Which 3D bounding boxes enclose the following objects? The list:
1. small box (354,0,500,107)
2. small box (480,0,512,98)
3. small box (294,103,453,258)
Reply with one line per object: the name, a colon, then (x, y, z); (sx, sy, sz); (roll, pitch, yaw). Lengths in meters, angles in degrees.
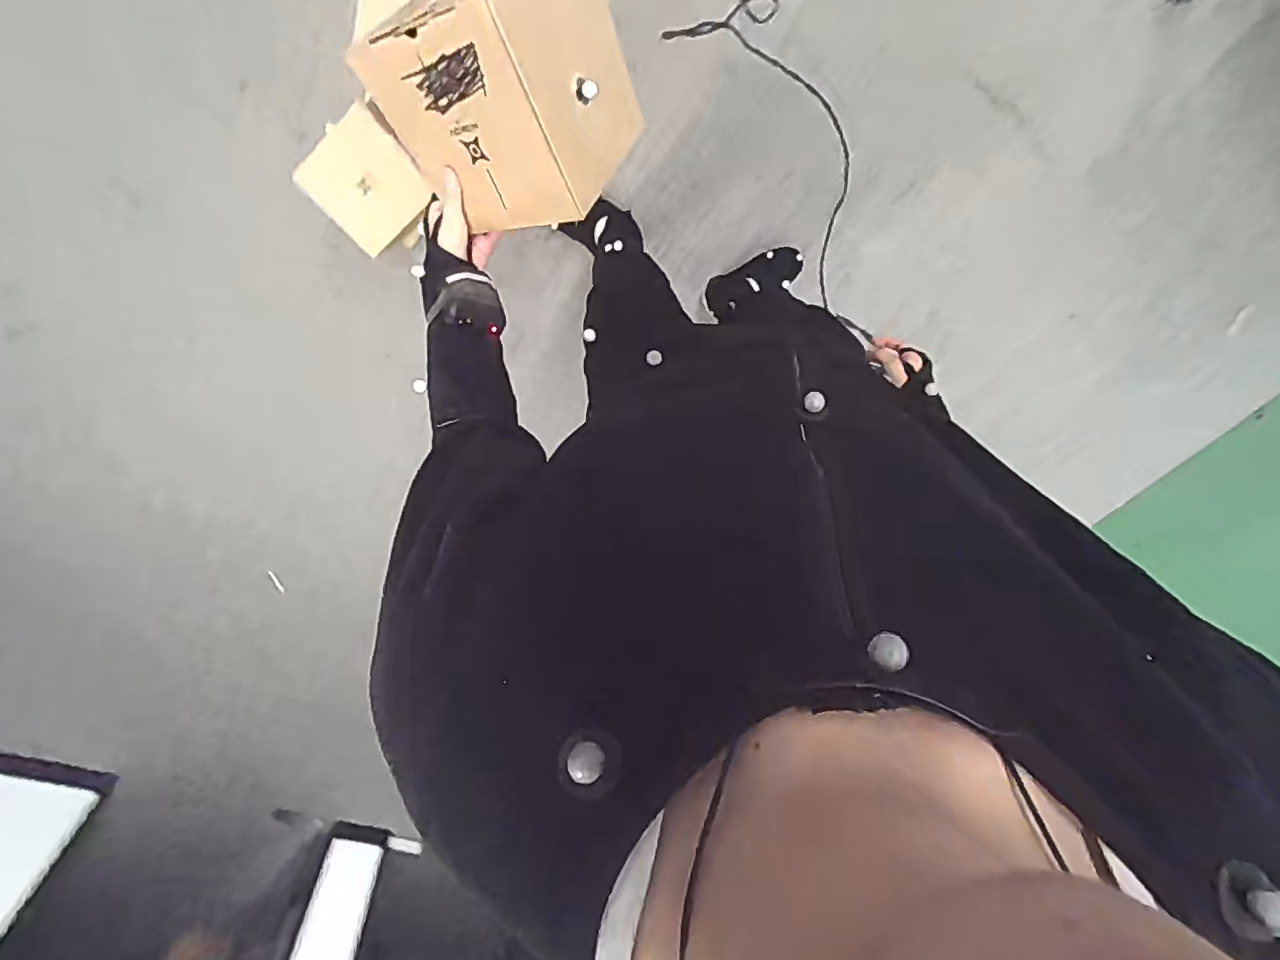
small box: (-0.330, -0.728, 0.860); (0.168, 0.176, 0.179); (17, 121, -17)
small box: (-0.348, -0.829, 0.988); (0.179, 0.176, 0.168); (22, 119, -18)
small box: (-0.467, -0.538, 0.979); (0.179, 0.176, 0.168); (-35, 119, 16)
